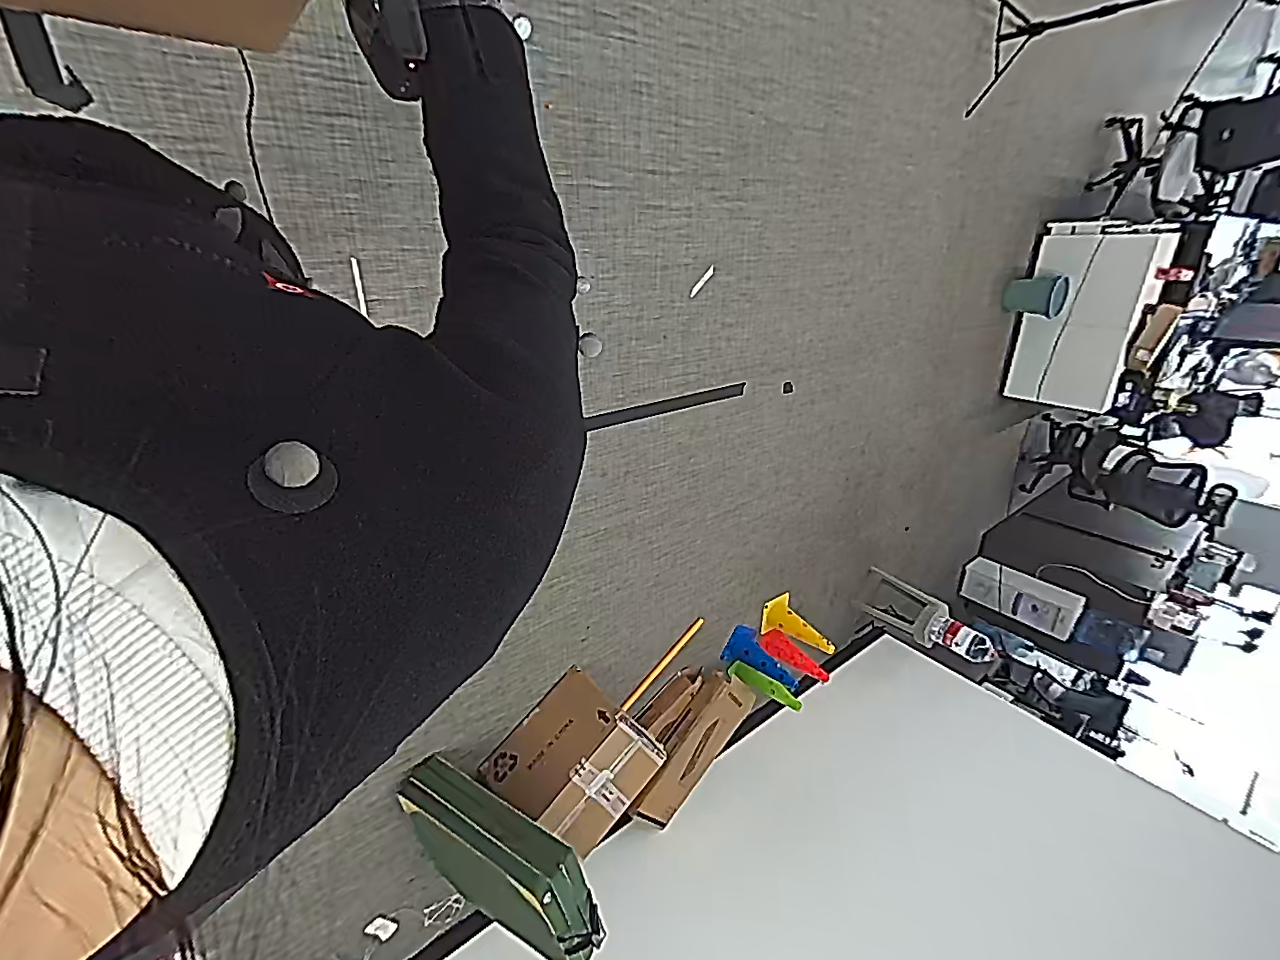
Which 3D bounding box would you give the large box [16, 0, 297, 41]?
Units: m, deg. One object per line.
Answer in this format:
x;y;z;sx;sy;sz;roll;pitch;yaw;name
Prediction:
-0.410;-0.448;0.235;0.408;0.320;0.320;-18;123;-34;large box
